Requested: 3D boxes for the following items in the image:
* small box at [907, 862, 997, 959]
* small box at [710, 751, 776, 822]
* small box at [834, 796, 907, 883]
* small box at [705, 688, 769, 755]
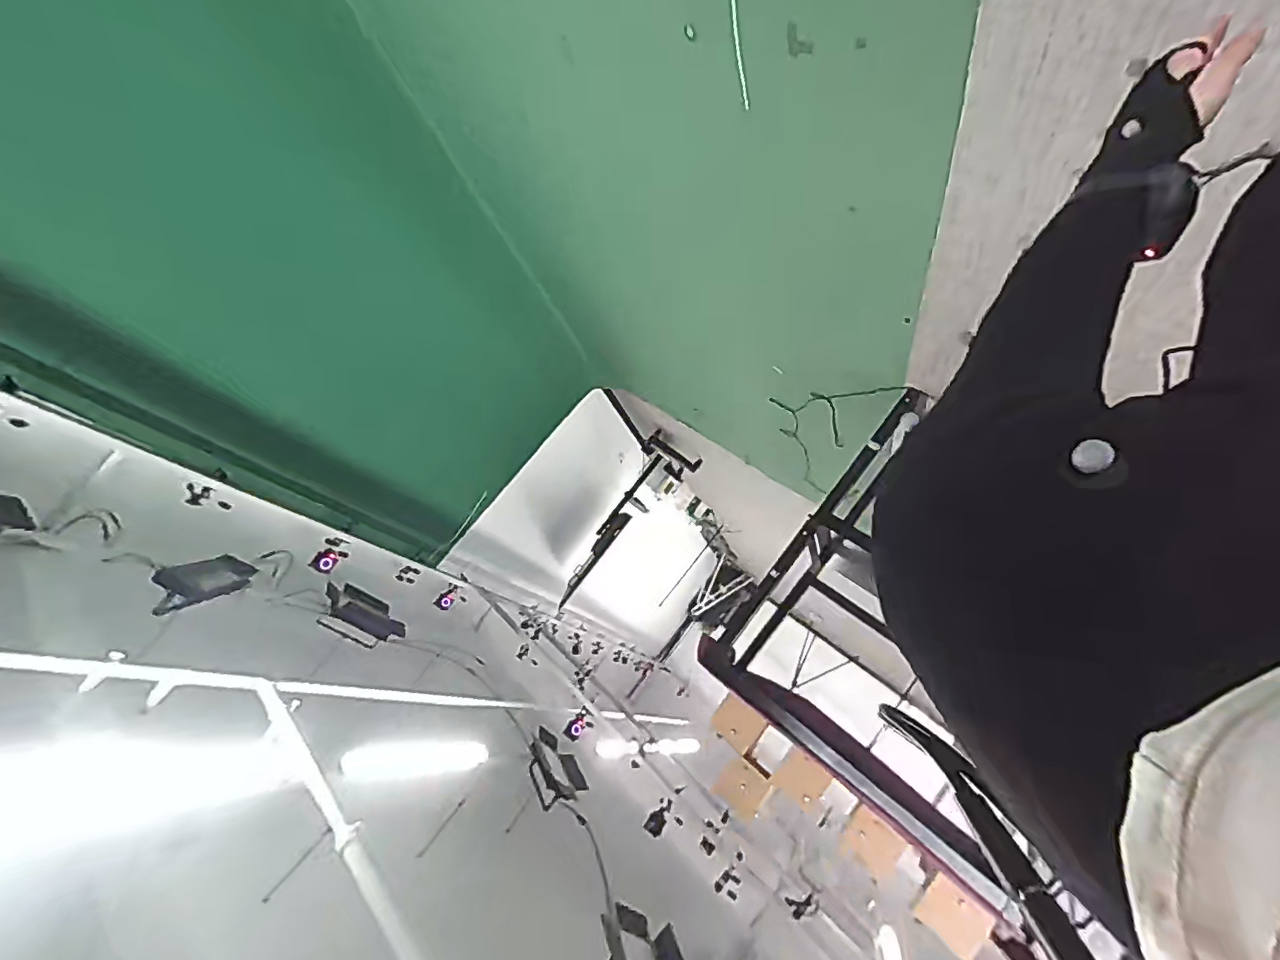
[{"bbox_3d":[0.972,1.346,1.695,0.179,0.176,0.168,36,172,33],"label":"small box"},{"bbox_3d":[0.390,1.140,2.026,0.168,0.176,0.179,35,173,31],"label":"small box"},{"bbox_3d":[0.780,1.212,1.838,0.168,0.176,0.179,36,173,29],"label":"small box"},{"bbox_3d":[0.388,0.940,2.116,0.179,0.176,0.168,35,172,30],"label":"small box"}]
